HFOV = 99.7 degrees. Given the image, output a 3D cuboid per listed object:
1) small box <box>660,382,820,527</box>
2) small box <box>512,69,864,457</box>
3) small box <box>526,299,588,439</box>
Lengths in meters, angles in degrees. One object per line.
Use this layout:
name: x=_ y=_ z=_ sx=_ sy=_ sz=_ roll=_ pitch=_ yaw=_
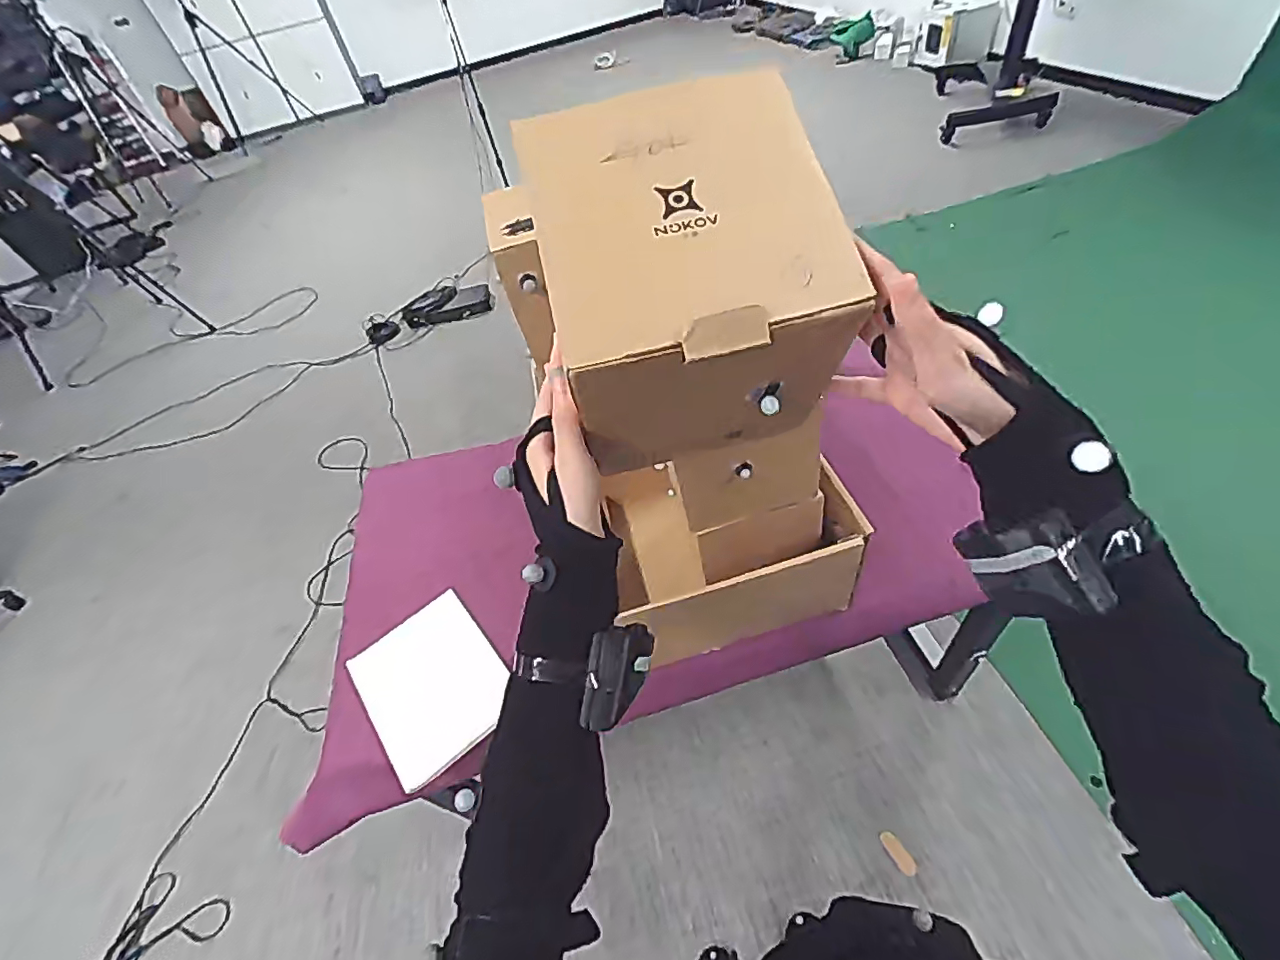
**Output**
small box: x=0.111 y=-0.067 z=0.688 sx=0.179 sy=0.176 sz=0.168 roll=-17 pitch=46 yaw=2
small box: x=0.023 y=-0.128 z=0.376 sx=0.168 sy=0.176 sz=0.179 roll=-13 pitch=71 yaw=-2
small box: x=-0.068 y=-0.183 z=0.844 sx=0.168 sy=0.176 sz=0.179 roll=-16 pitch=49 yaw=0
